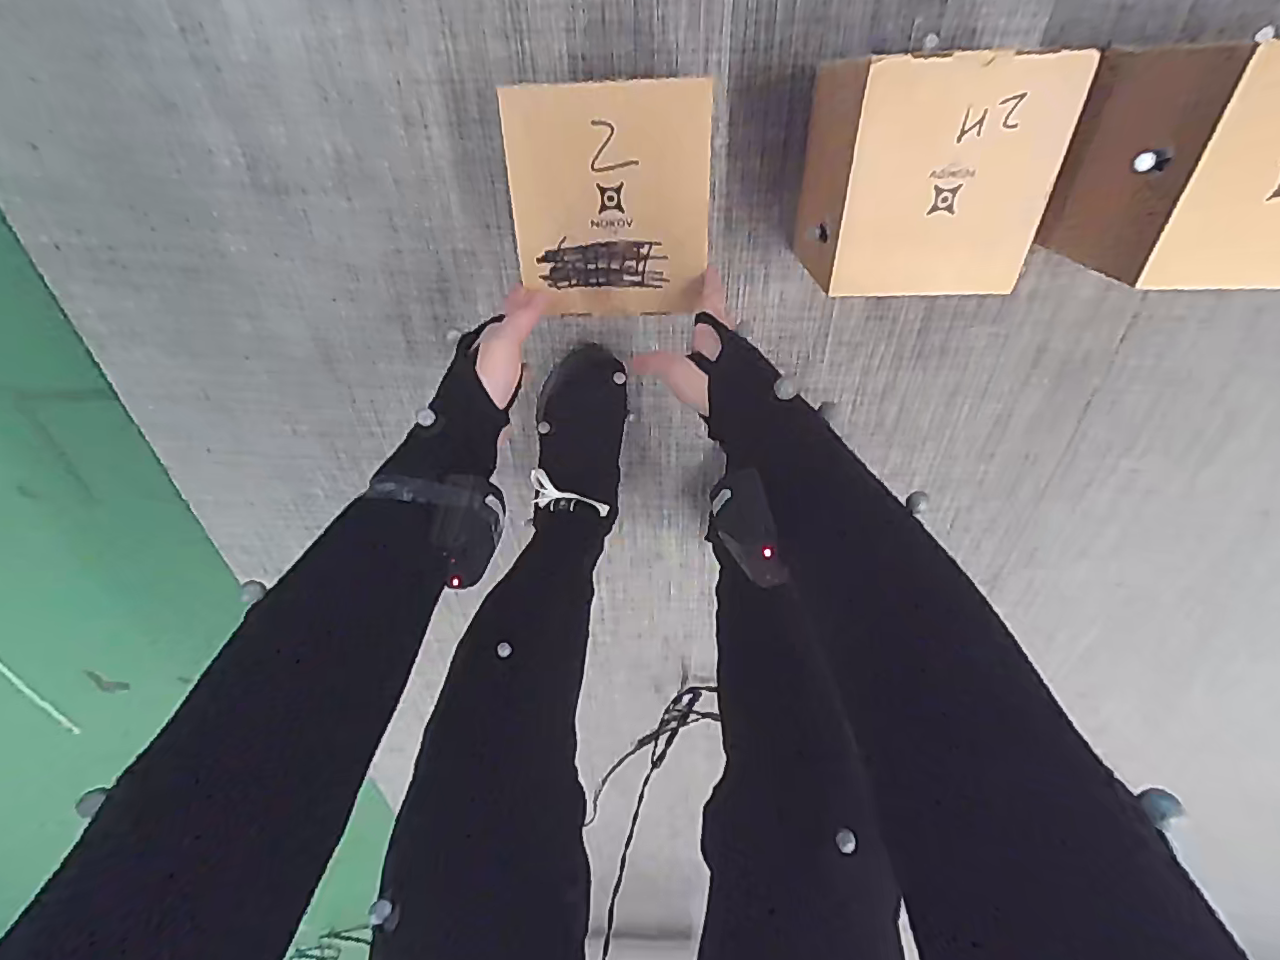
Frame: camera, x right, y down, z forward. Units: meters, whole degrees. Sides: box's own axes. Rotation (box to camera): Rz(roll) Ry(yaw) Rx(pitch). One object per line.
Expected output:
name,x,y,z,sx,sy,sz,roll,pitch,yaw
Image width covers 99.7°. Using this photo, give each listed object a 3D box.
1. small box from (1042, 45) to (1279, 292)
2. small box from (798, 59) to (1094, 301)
small box,0.522,-0.287,0.500,0.168,0.176,0.179,0,125,2
small box,0.255,-0.282,0.509,0.168,0.176,0.179,0,125,2
